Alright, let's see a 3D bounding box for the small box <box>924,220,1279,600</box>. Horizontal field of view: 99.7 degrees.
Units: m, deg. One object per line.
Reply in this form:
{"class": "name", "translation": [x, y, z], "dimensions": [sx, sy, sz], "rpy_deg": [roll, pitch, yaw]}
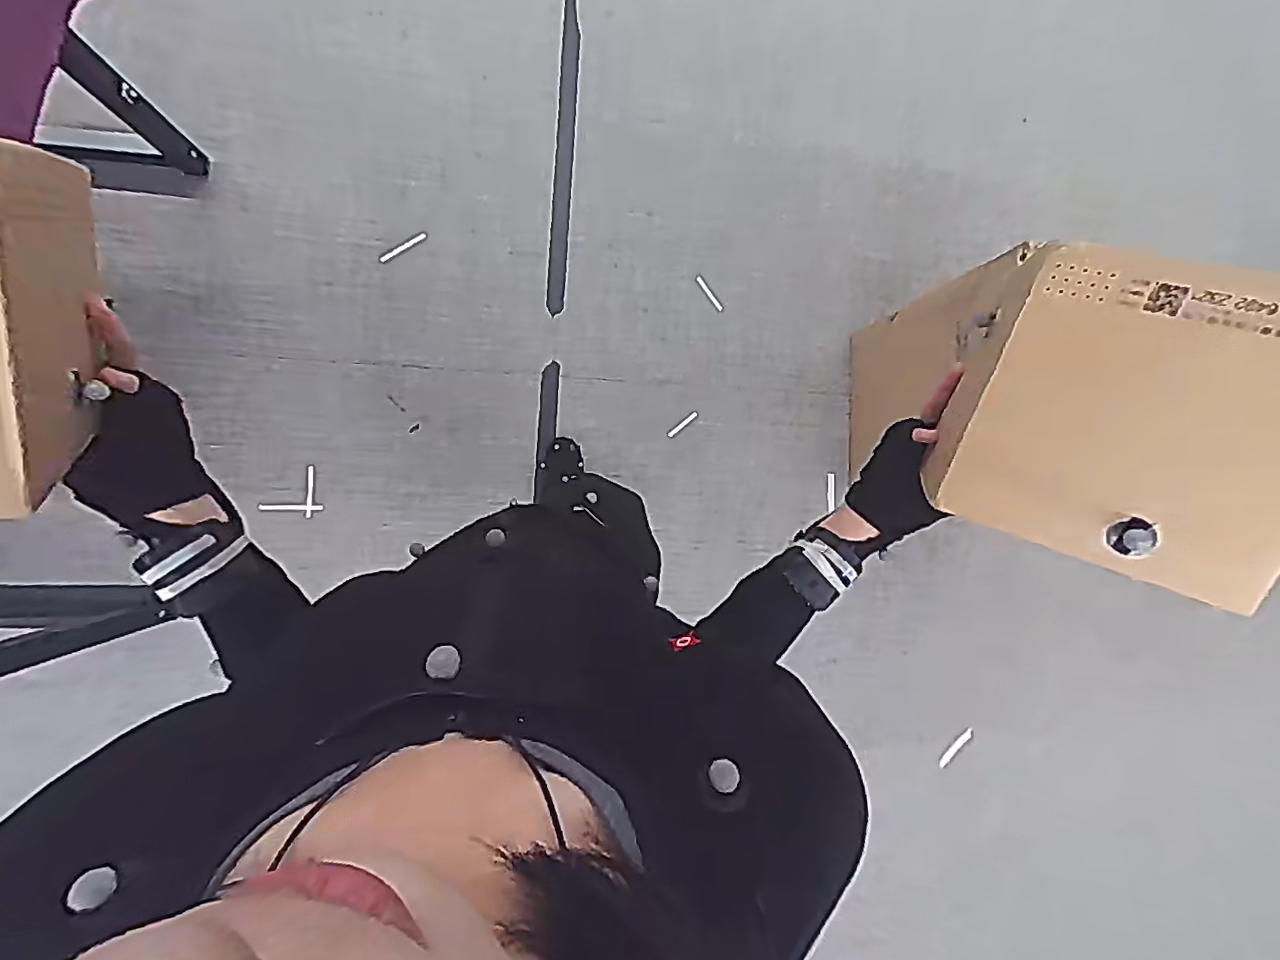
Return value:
{"class": "small box", "translation": [0.312, -0.056, 0.361], "dimensions": [0.168, 0.179, 0.176], "rpy_deg": [21, 110, 20]}

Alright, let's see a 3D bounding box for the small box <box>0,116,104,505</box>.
{"class": "small box", "translation": [-0.379, -0.097, 0.246], "dimensions": [0.168, 0.179, 0.176], "rpy_deg": [0, 111, -34]}
